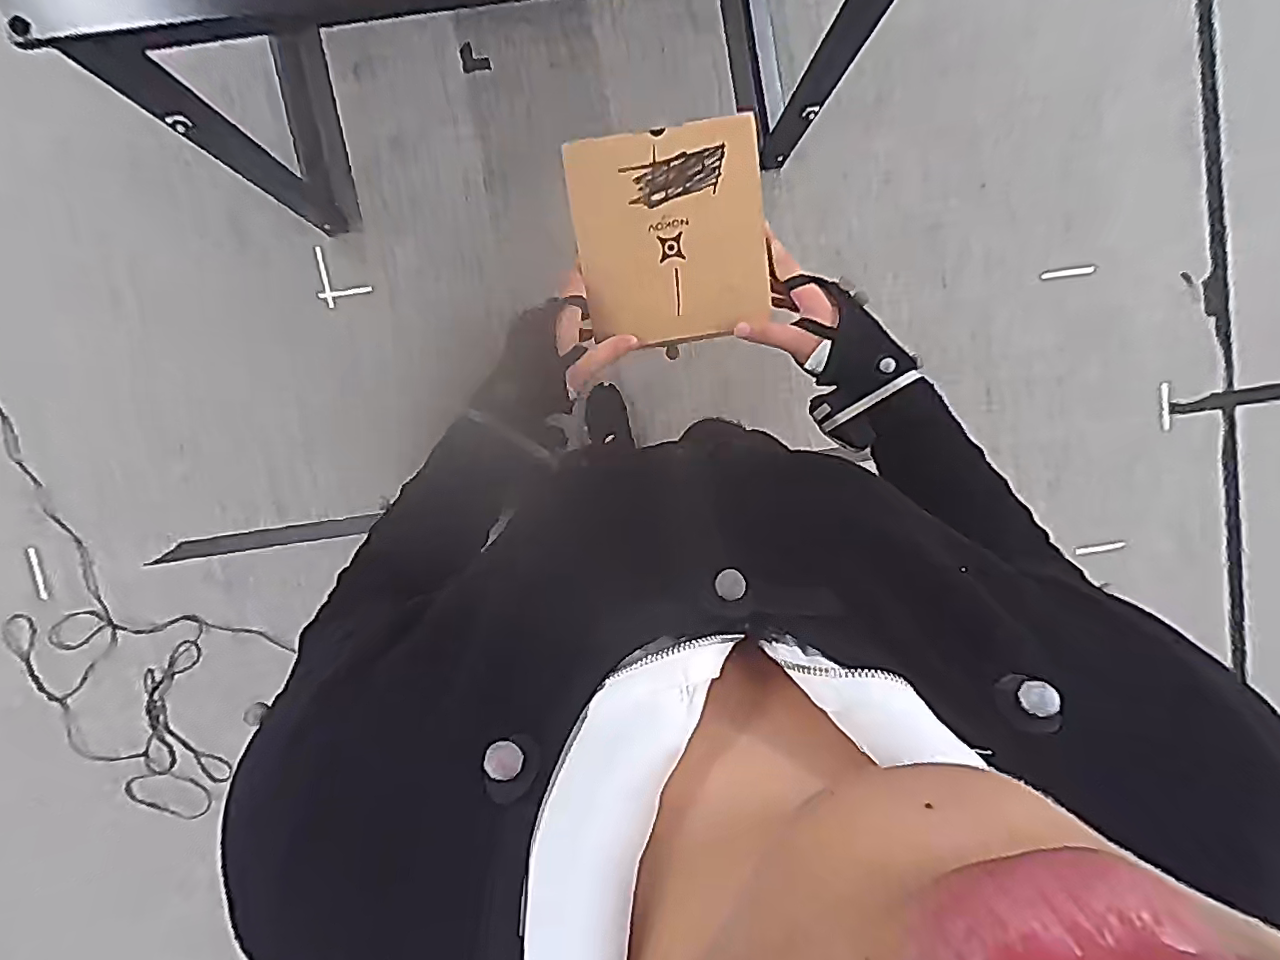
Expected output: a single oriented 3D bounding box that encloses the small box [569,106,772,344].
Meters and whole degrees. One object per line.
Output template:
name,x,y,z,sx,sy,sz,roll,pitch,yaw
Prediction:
small box,0.029,-0.240,0.554,0.168,0.176,0.179,-8,103,2
